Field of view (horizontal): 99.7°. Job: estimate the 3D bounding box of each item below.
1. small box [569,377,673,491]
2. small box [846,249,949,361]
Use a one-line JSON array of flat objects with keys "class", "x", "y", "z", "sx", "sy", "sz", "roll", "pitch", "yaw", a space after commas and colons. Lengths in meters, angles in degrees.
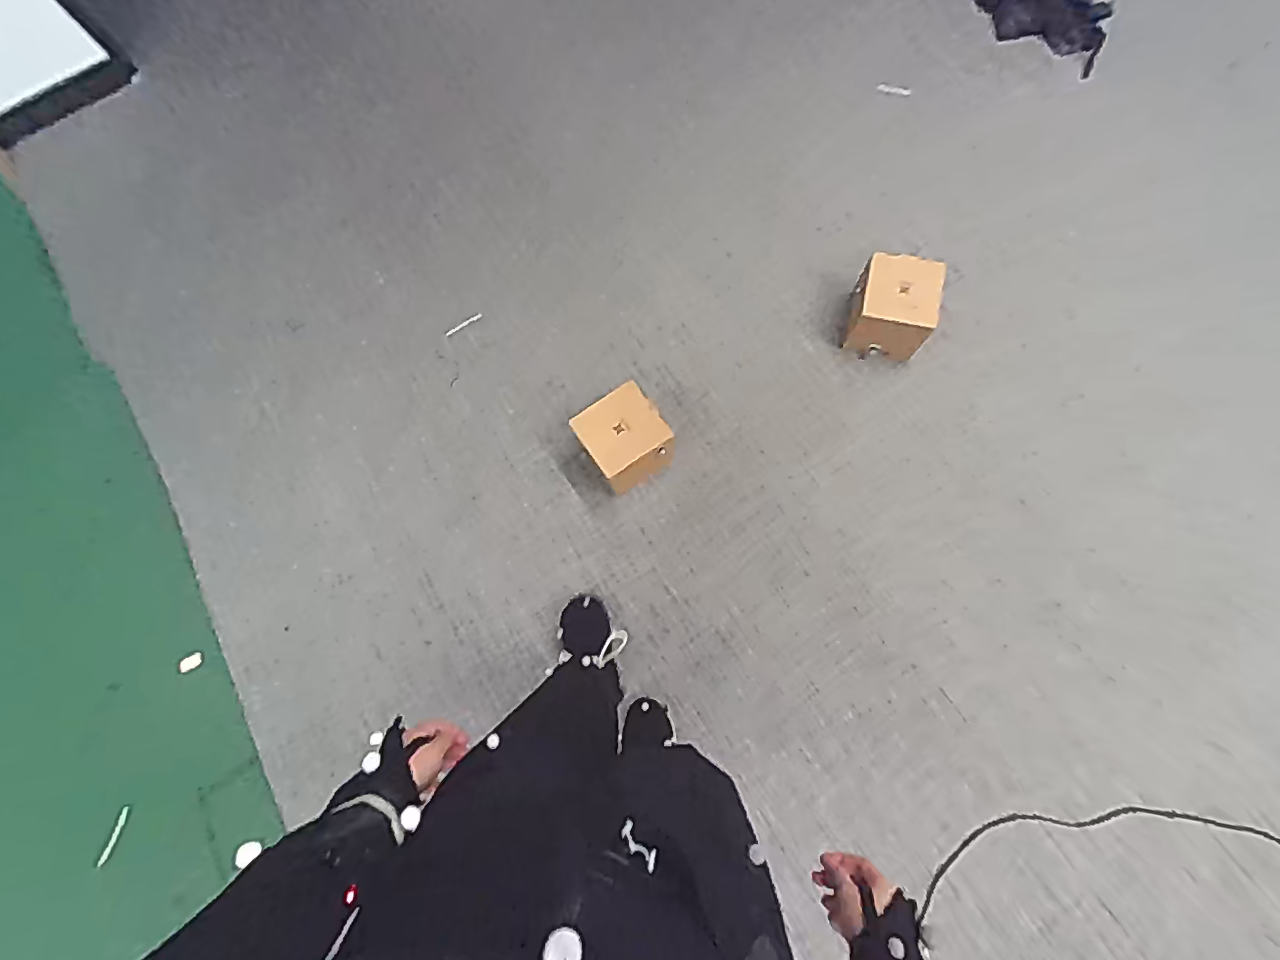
[{"class": "small box", "x": -0.036, "y": -0.097, "z": 1.244, "sx": 0.179, "sy": 0.176, "sz": 0.168, "roll": -34, "pitch": 76, "yaw": -6}, {"class": "small box", "x": 0.606, "y": -0.413, "z": 1.289, "sx": 0.168, "sy": 0.176, "sz": 0.179, "roll": 13, "pitch": 77, "yaw": 8}]
